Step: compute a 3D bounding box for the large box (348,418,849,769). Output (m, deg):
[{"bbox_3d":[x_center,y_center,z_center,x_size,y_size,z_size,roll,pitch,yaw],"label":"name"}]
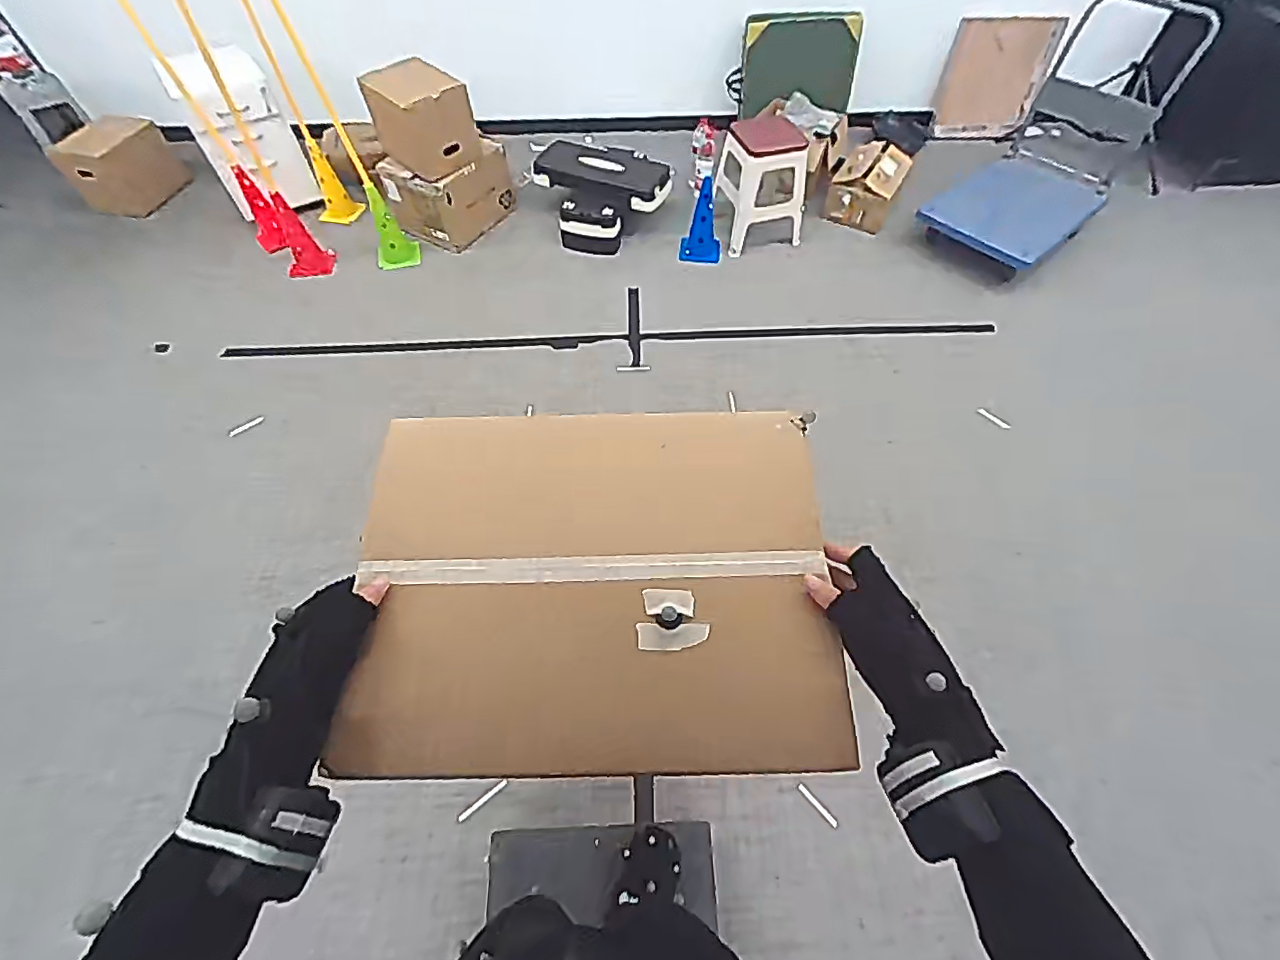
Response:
[{"bbox_3d":[-0.037,0.145,0.620,0.408,0.320,0.320,-1,65,0],"label":"large box"}]
